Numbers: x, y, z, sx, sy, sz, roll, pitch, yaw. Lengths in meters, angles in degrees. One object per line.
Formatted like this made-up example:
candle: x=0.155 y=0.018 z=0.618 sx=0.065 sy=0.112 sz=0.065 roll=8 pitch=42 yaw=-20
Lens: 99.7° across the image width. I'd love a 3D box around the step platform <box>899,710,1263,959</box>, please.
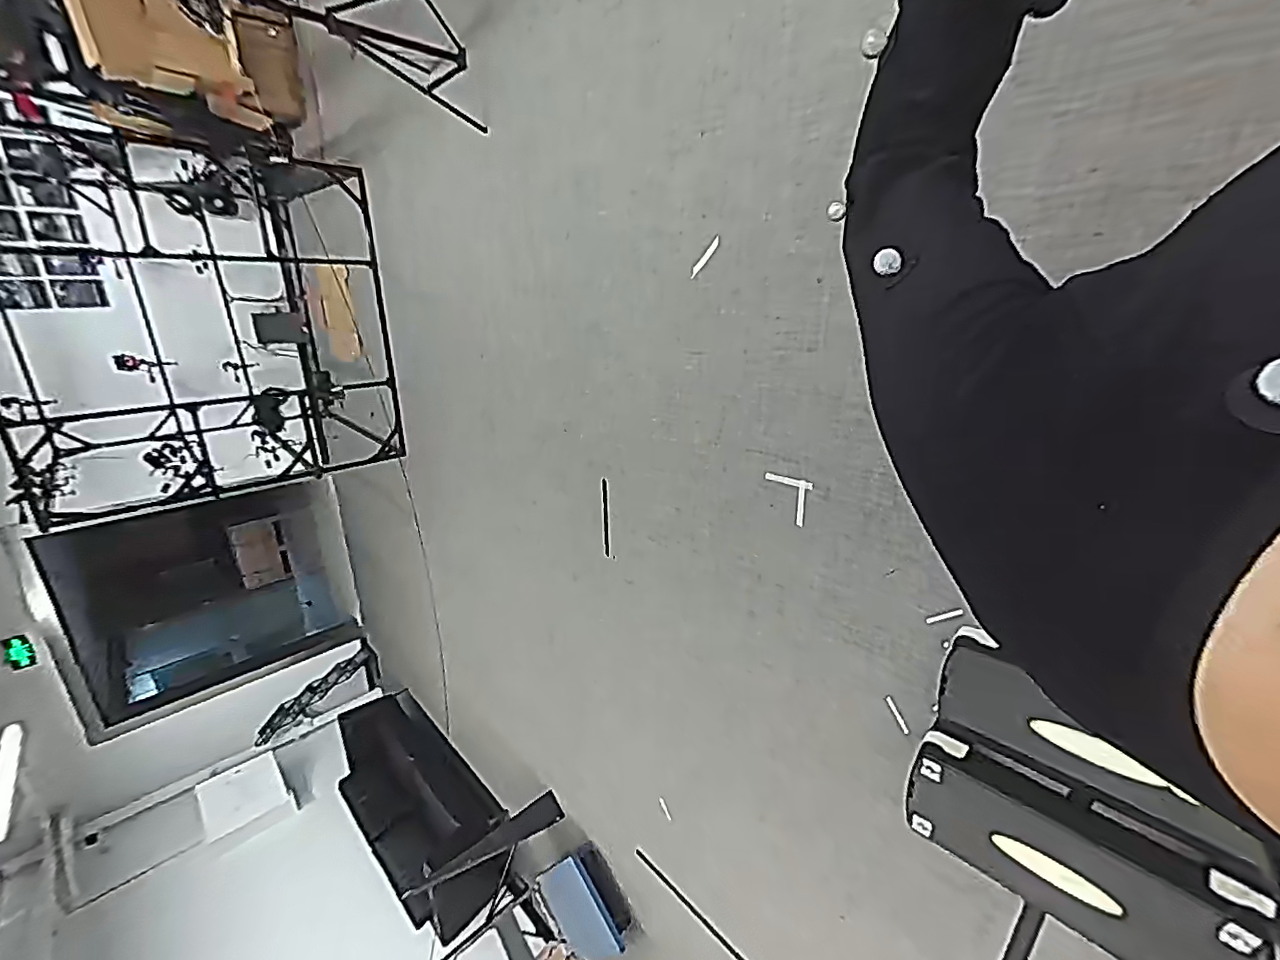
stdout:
step platform: x=1.020 y=0.882 z=1.342 sx=0.684 sy=0.204 sz=0.286 roll=17 pitch=116 yaw=45
